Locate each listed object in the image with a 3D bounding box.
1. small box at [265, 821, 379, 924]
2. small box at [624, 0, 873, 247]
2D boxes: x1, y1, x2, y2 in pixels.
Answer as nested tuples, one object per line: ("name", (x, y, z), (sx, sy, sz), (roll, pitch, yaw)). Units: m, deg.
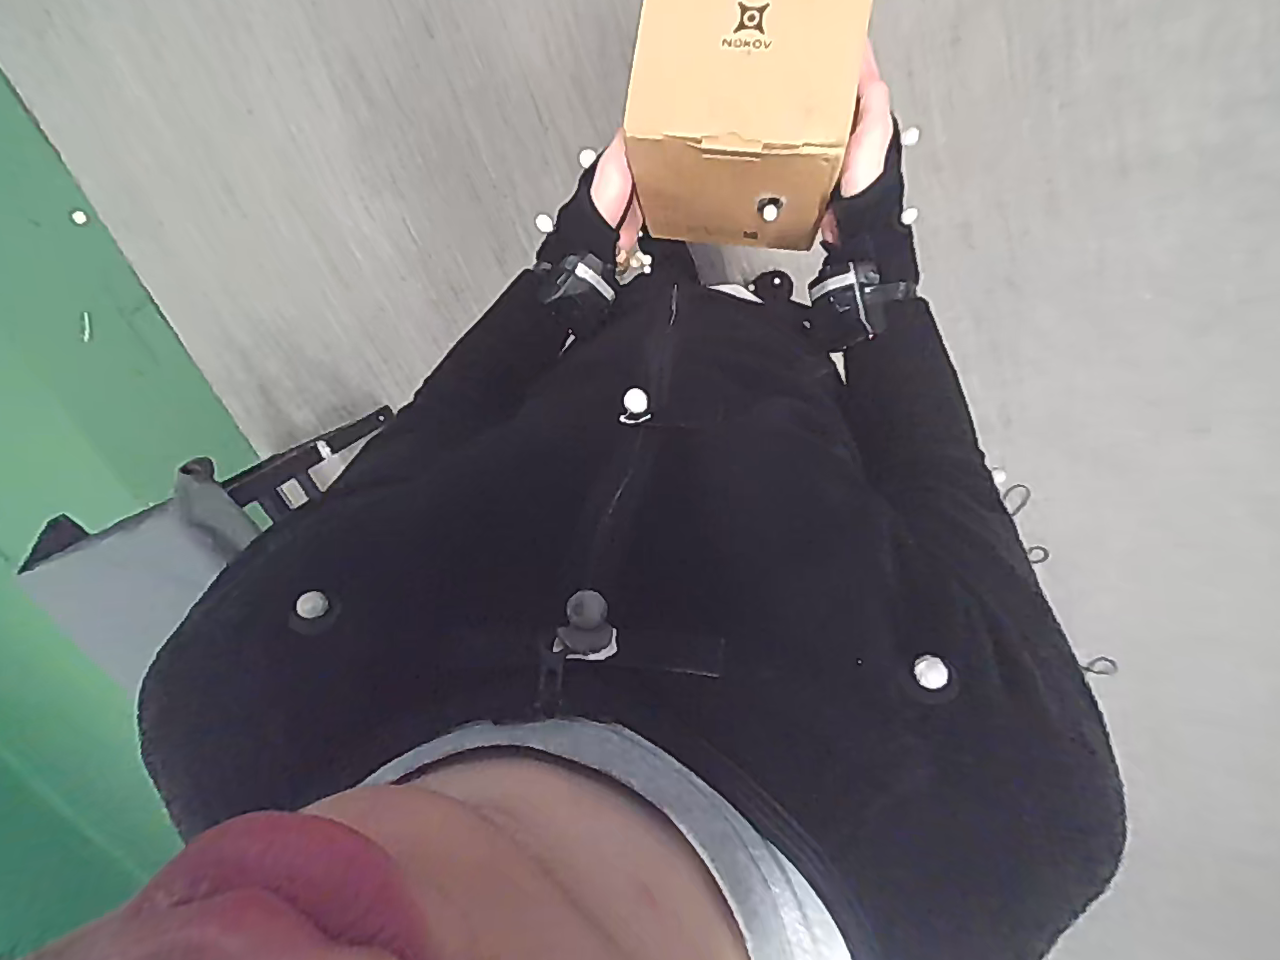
("small box", (-0.836, 1.045, 1.448), (0.179, 0.176, 0.168), (-14, 111, 18))
("small box", (0.091, -0.327, 0.470), (0.168, 0.176, 0.179), (9, 89, 7))
